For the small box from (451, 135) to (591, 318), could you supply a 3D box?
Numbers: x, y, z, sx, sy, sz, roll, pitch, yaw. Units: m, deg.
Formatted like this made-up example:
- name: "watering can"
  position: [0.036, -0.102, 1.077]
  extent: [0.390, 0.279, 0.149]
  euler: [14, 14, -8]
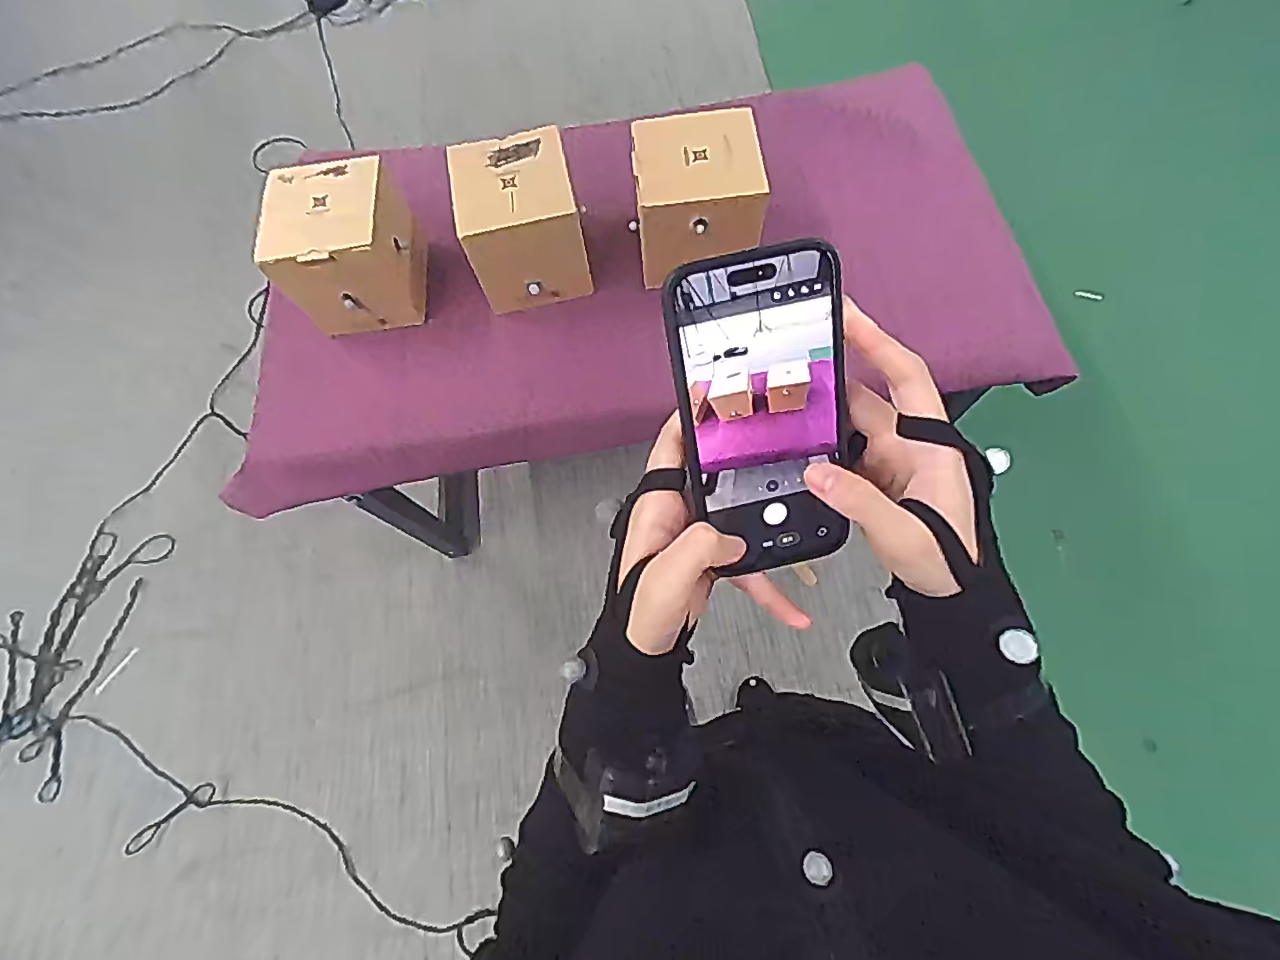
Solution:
- name: "small box"
  position: [-0.177, -0.383, 0.834]
  extent: [0.168, 0.176, 0.179]
  euler: [-12, 69, 0]

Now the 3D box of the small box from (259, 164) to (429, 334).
- name: "small box"
  position: [-0.442, -0.344, 0.838]
  extent: [0.168, 0.176, 0.179]
  euler: [-7, 69, 1]

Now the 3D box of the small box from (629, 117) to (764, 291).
- name: "small box"
  position: [0.081, -0.411, 0.826]
  extent: [0.179, 0.176, 0.168]
  euler: [-5, 69, 2]
